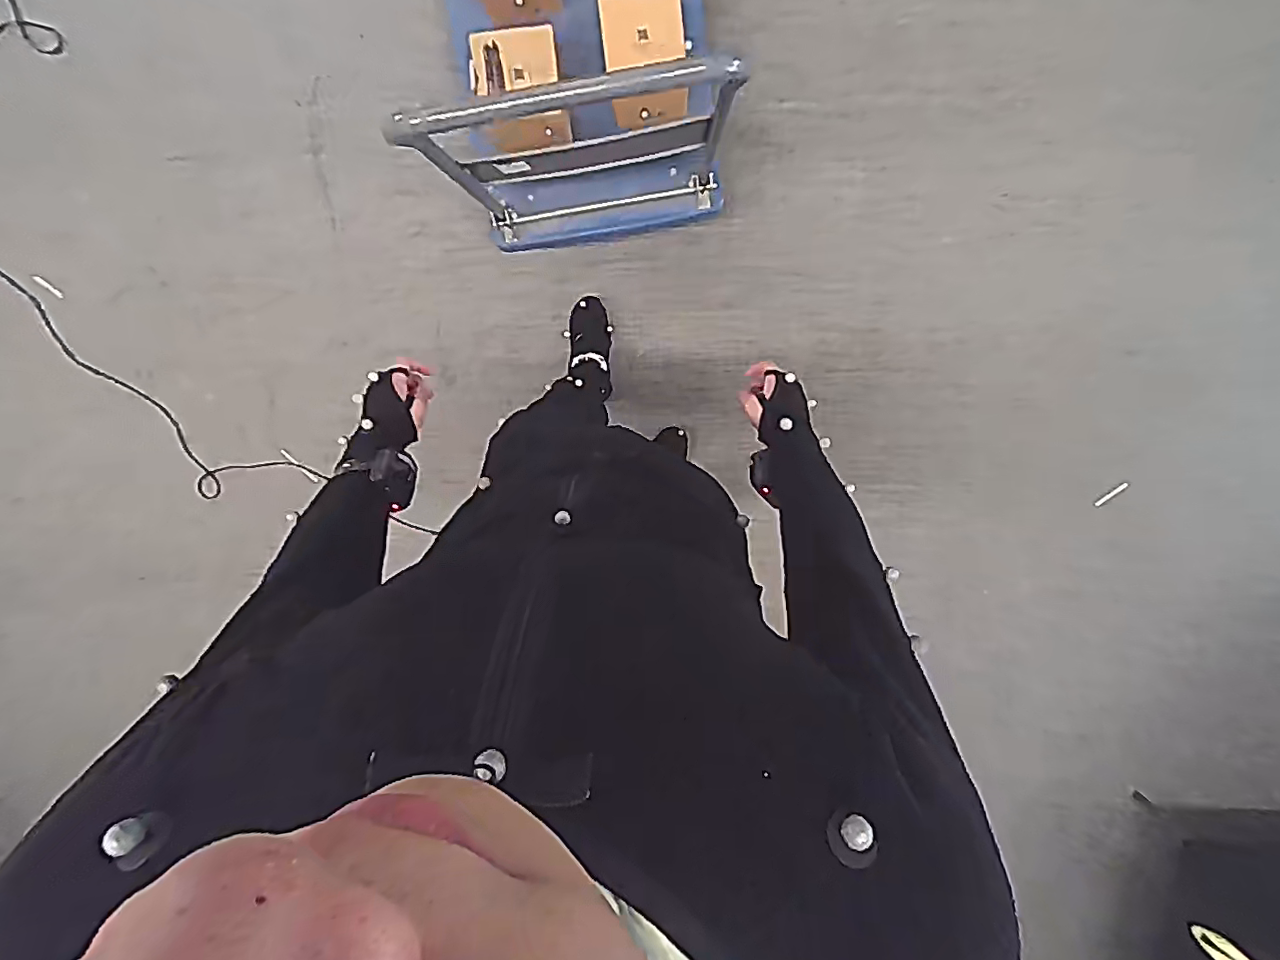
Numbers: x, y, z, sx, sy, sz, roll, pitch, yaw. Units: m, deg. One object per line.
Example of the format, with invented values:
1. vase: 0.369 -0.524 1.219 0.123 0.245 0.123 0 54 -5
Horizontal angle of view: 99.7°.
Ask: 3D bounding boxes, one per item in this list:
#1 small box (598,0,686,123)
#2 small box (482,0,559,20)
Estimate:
1. small box: 0.006 -0.927 1.187 0.168 0.176 0.179 -8 101 4
2. small box: -0.282 -1.136 1.157 0.168 0.176 0.179 -12 101 4
